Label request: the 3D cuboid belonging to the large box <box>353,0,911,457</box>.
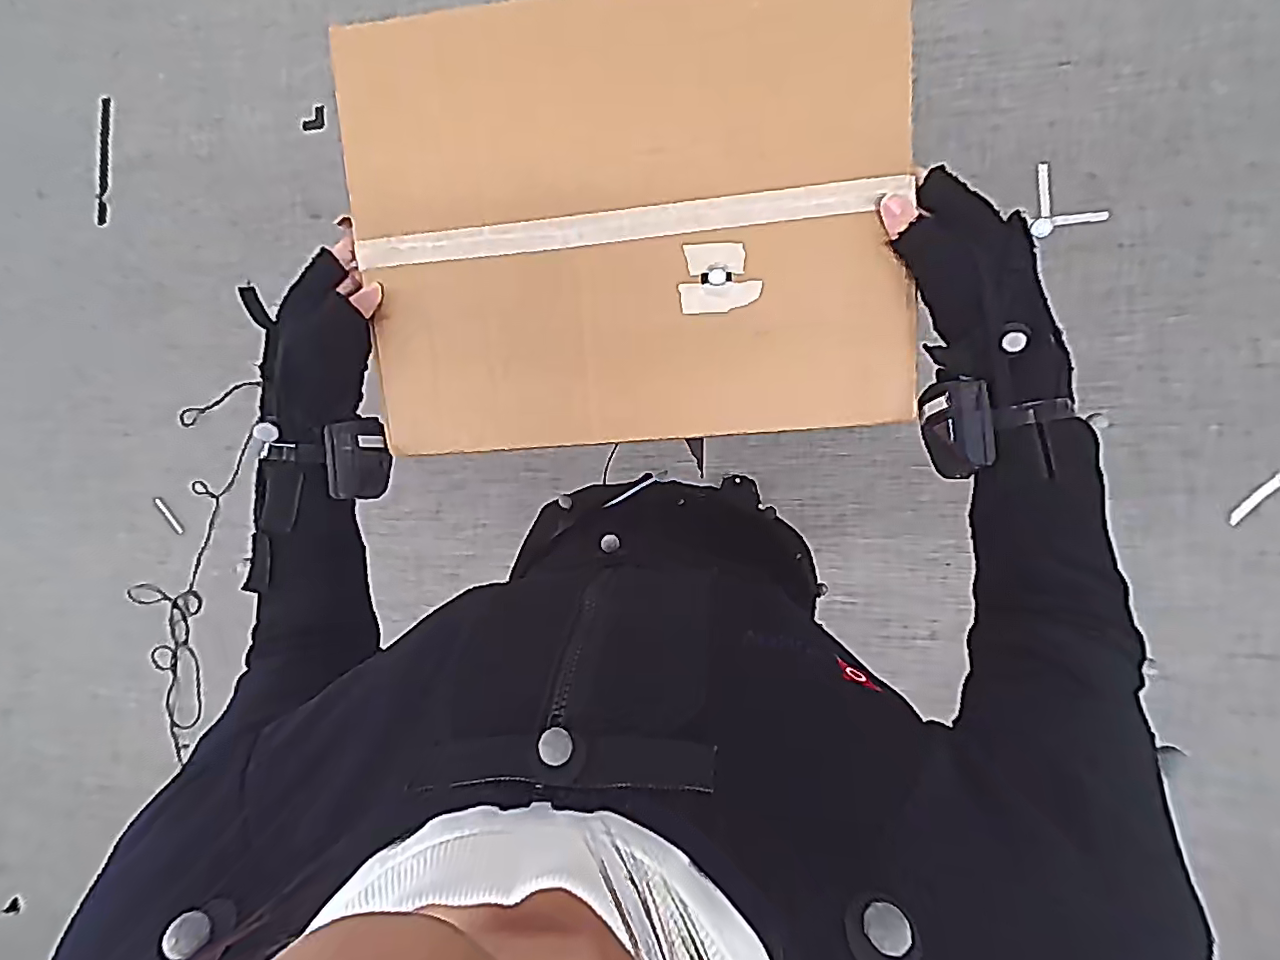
[{"bbox_3d":[0.004,-0.207,0.553,0.408,0.320,0.320,-4,98,6],"label":"large box"}]
